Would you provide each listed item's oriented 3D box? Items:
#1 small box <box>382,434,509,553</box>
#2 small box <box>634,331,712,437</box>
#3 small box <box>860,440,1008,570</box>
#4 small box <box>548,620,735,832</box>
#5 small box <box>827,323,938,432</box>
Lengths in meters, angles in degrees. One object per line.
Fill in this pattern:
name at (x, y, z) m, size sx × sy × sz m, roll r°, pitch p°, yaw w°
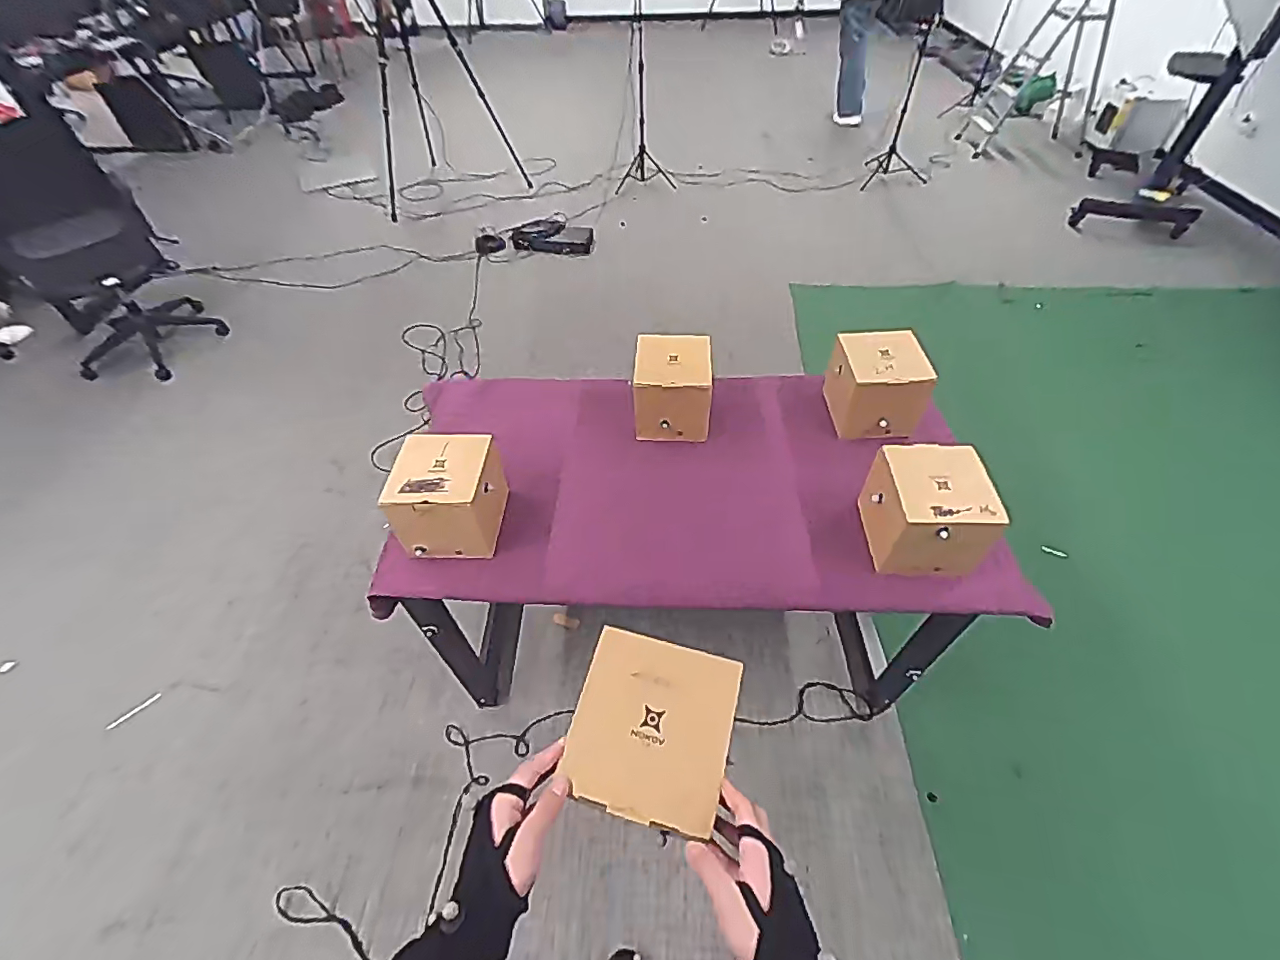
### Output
small box at (-0.364, 0.030, 1.051) m, size 0.168 × 0.176 × 0.179 m, roll 0°, pitch 49°, yaw 2°
small box at (0.074, -0.219, 1.237) m, size 0.168 × 0.176 × 0.179 m, roll 1°, pitch 52°, yaw 3°
small box at (0.519, 0.045, 0.987) m, size 0.168 × 0.176 × 0.179 m, roll 0°, pitch 51°, yaw 5°
small box at (0.011, 0.296, 0.648) m, size 0.168 × 0.176 × 0.179 m, roll 13°, pitch 59°, yaw 12°
small box at (0.530, -0.229, 1.213) m, size 0.168 × 0.176 × 0.179 m, roll -3°, pitch 51°, yaw 4°
